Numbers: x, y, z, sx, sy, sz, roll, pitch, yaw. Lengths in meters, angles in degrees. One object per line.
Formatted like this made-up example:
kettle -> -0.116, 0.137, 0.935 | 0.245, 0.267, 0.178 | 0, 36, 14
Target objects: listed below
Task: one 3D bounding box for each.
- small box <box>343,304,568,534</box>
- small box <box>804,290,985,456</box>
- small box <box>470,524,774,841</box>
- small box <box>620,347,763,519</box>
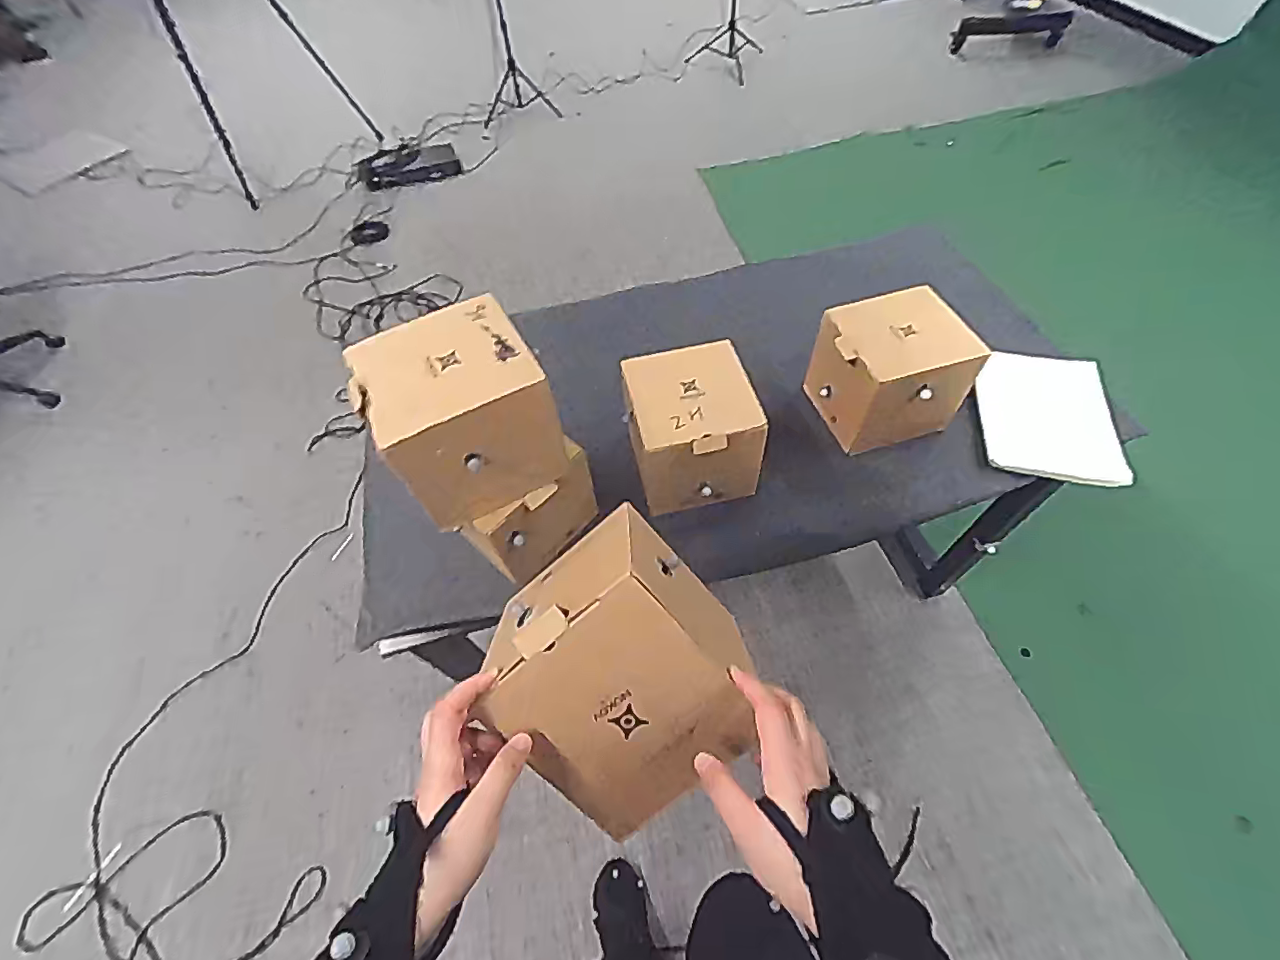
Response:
small box -> -0.206, -0.066, 0.636 | 0.179, 0.176, 0.168 | -28, 58, -13
small box -> 0.384, -0.165, 0.855 | 0.179, 0.176, 0.168 | -16, 56, -6
small box -> -0.015, 0.159, 0.486 | 0.168, 0.176, 0.179 | -40, 102, 8
small box -> 0.071, -0.068, 0.814 | 0.168, 0.176, 0.179 | -13, 56, -3
